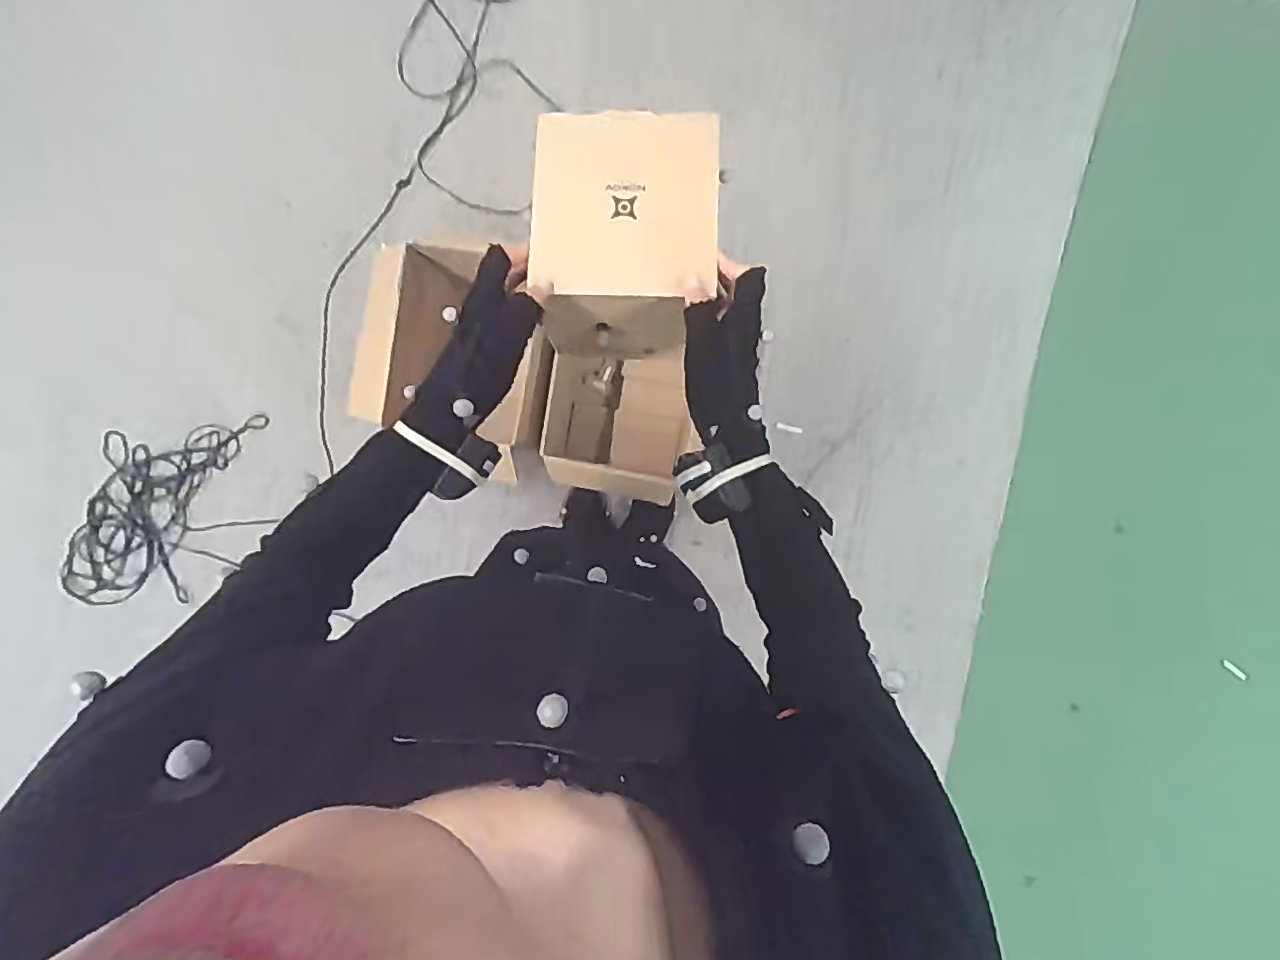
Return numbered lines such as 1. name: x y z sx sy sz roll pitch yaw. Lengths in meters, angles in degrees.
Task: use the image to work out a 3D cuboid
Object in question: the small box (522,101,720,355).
1. small box: -0.013 -0.233 0.538 0.168 0.176 0.179 1 83 1
